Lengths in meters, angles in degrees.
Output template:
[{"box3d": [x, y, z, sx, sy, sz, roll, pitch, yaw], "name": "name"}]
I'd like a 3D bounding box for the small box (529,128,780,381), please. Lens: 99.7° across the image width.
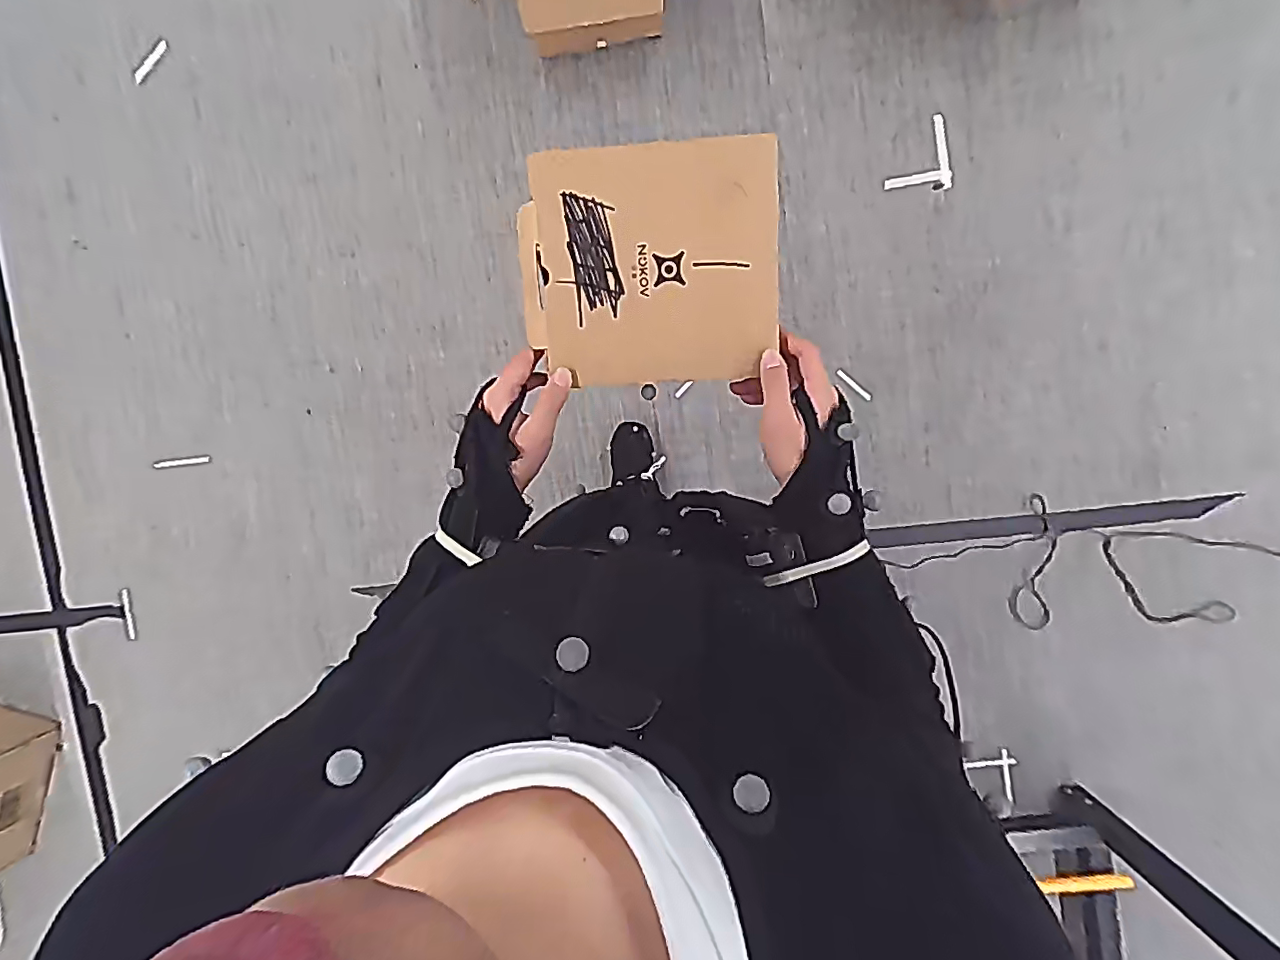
[{"box3d": [0.016, -0.172, 0.464, 0.179, 0.176, 0.168, -3, 102, 3], "name": "small box"}]
